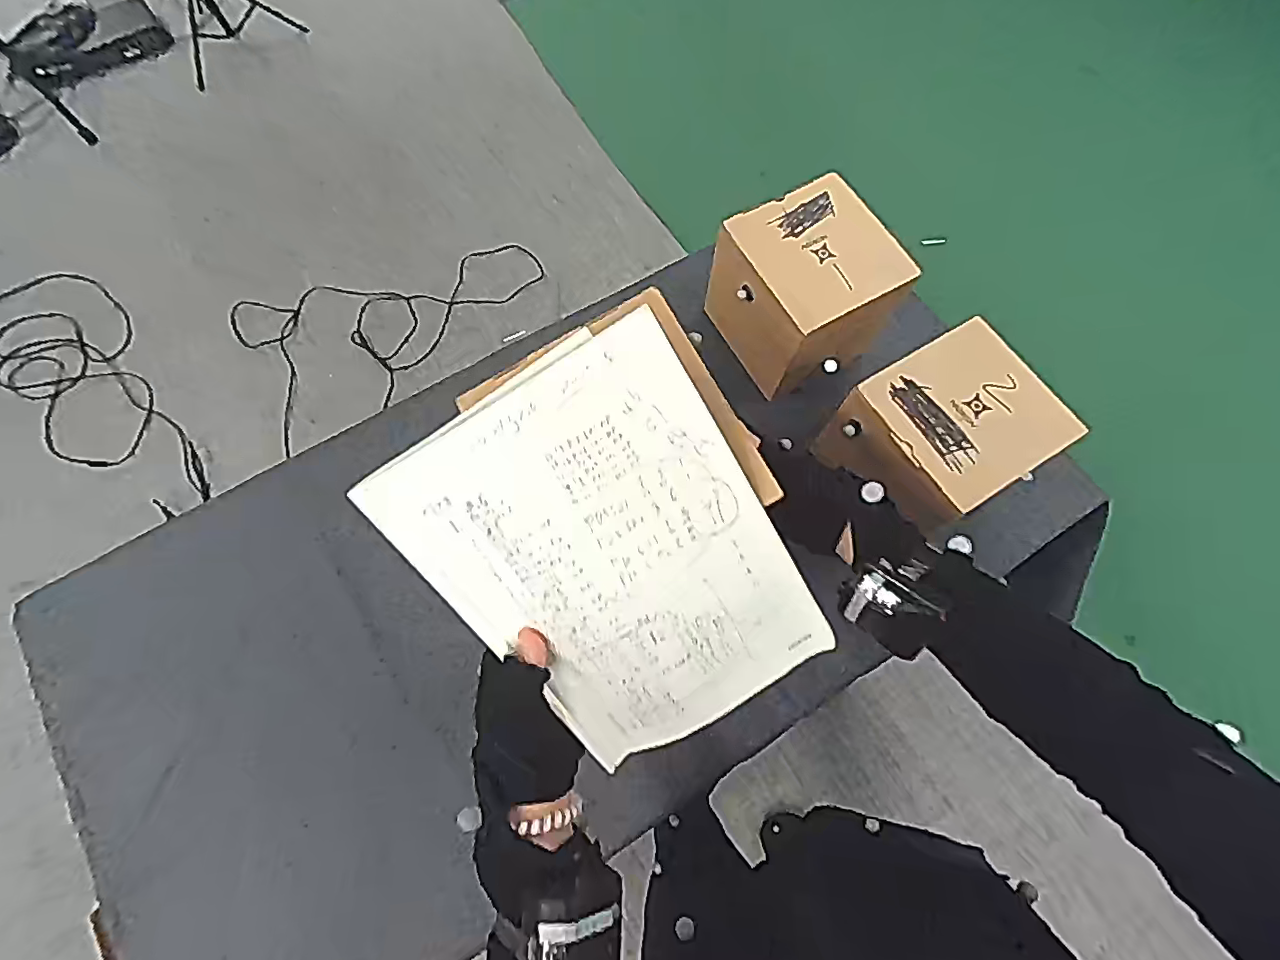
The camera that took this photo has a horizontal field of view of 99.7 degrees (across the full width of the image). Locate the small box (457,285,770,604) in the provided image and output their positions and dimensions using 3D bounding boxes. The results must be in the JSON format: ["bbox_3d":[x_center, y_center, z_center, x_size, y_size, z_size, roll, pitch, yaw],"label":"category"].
[{"bbox_3d":[-0.013,-0.018,0.453,0.168,0.176,0.179,-30,79,0],"label":"small box"}]

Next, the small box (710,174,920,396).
[{"bbox_3d":[0.207,-0.242,0.699,0.168,0.176,0.179,-28,74,-9],"label":"small box"}]
